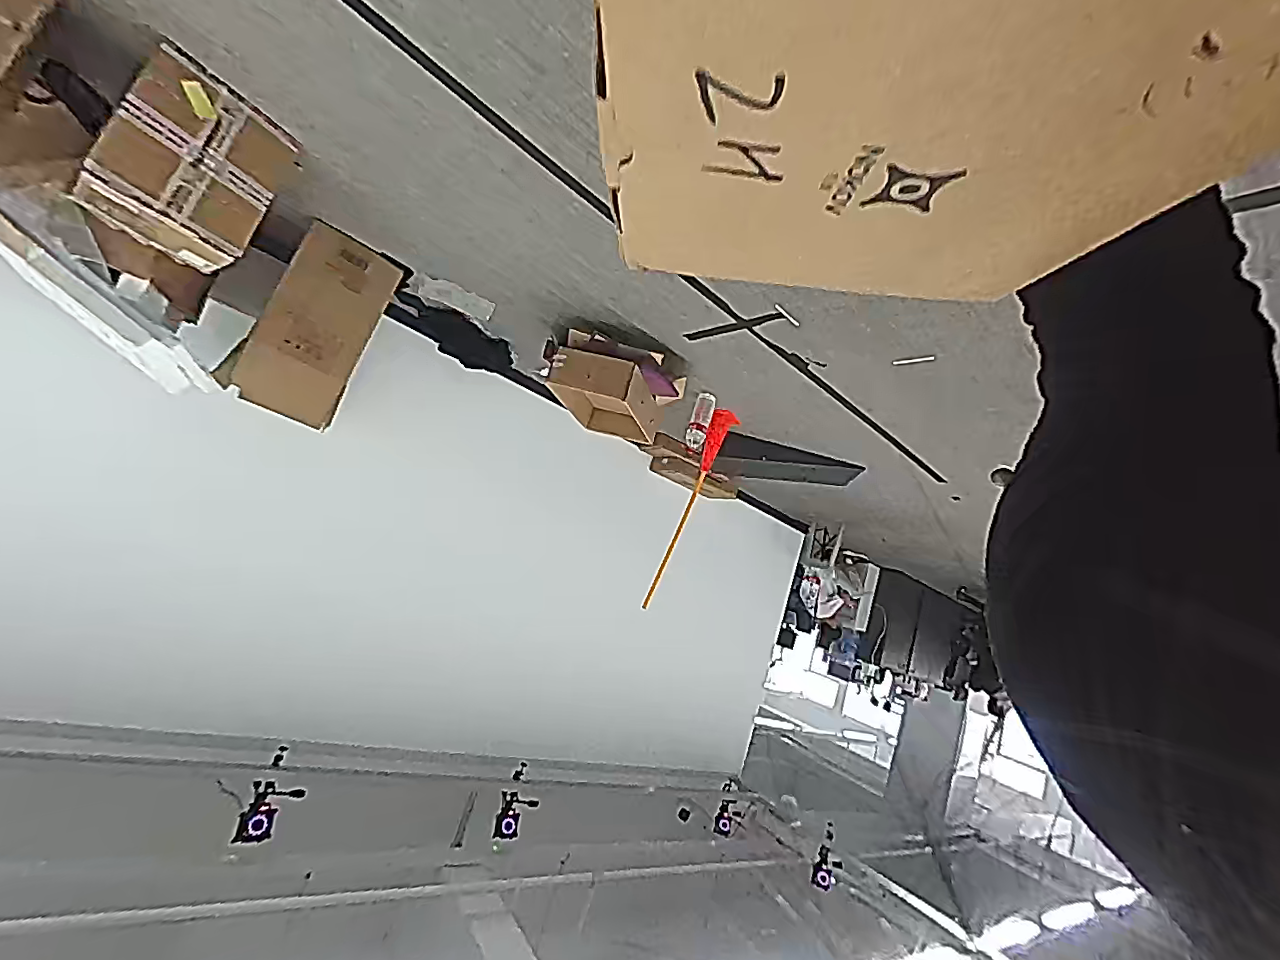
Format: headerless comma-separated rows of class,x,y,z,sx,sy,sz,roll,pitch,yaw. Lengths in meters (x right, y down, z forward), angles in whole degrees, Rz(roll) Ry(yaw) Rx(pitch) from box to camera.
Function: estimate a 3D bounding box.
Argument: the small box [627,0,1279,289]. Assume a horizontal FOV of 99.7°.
small box,0.092,-0.182,0.176,0.179,0.176,0.168,7,179,1
